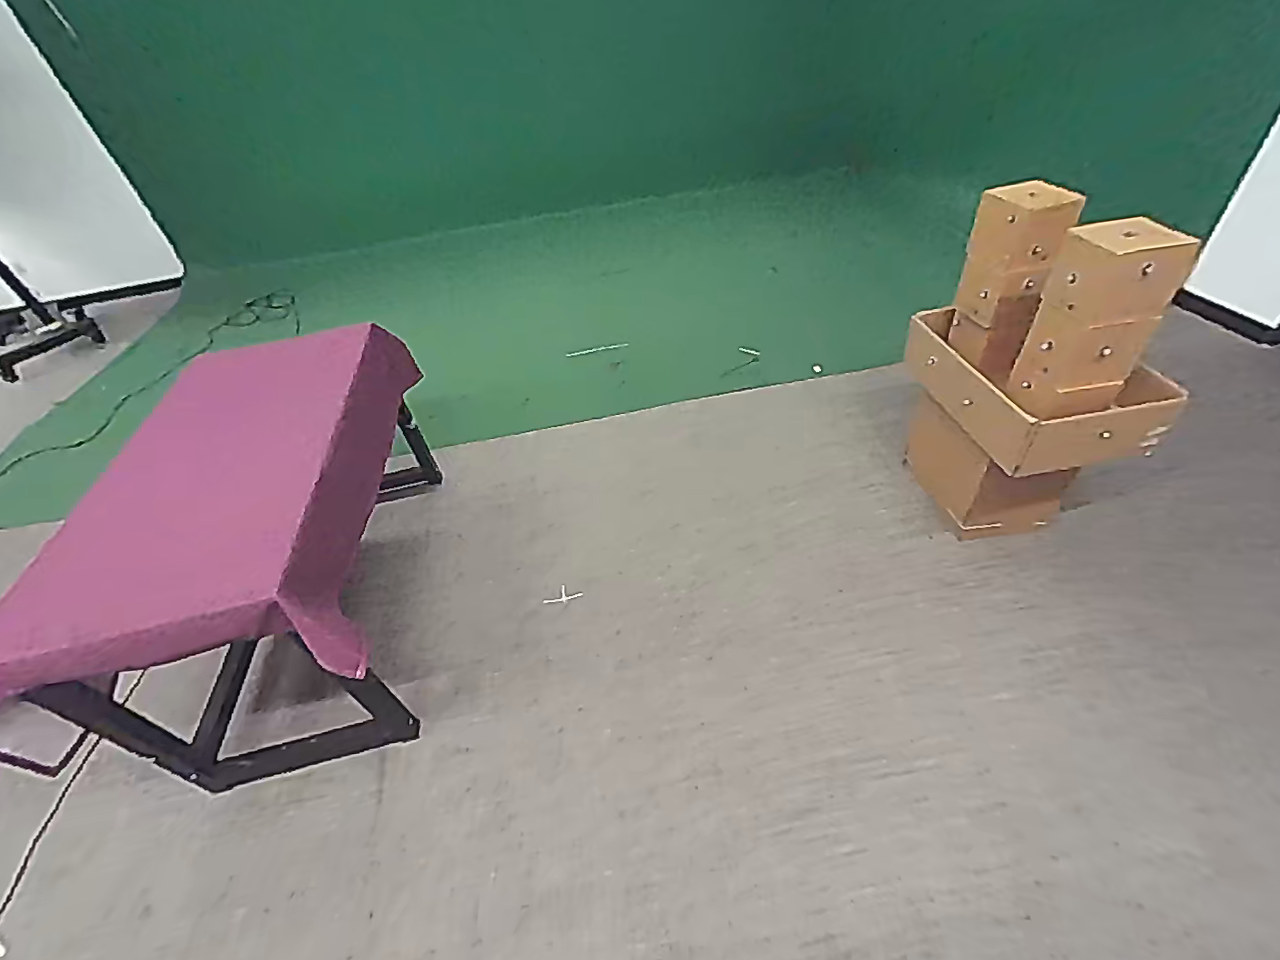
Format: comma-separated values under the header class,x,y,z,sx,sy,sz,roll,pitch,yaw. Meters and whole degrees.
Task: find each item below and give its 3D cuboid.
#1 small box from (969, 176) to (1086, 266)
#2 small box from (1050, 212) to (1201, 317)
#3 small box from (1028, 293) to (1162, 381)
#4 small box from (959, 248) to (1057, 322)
class,x,y,z,sx,sy,sz,roll,pitch,yaw
small box,1.042,-0.706,1.475,0.168,0.176,0.179,-14,44,-4
small box,1.080,-0.486,1.230,0.179,0.176,0.168,-8,43,1
small box,1.104,-0.362,1.337,0.179,0.176,0.168,-9,43,2
small box,1.065,-0.579,1.576,0.179,0.176,0.168,-13,43,-4
